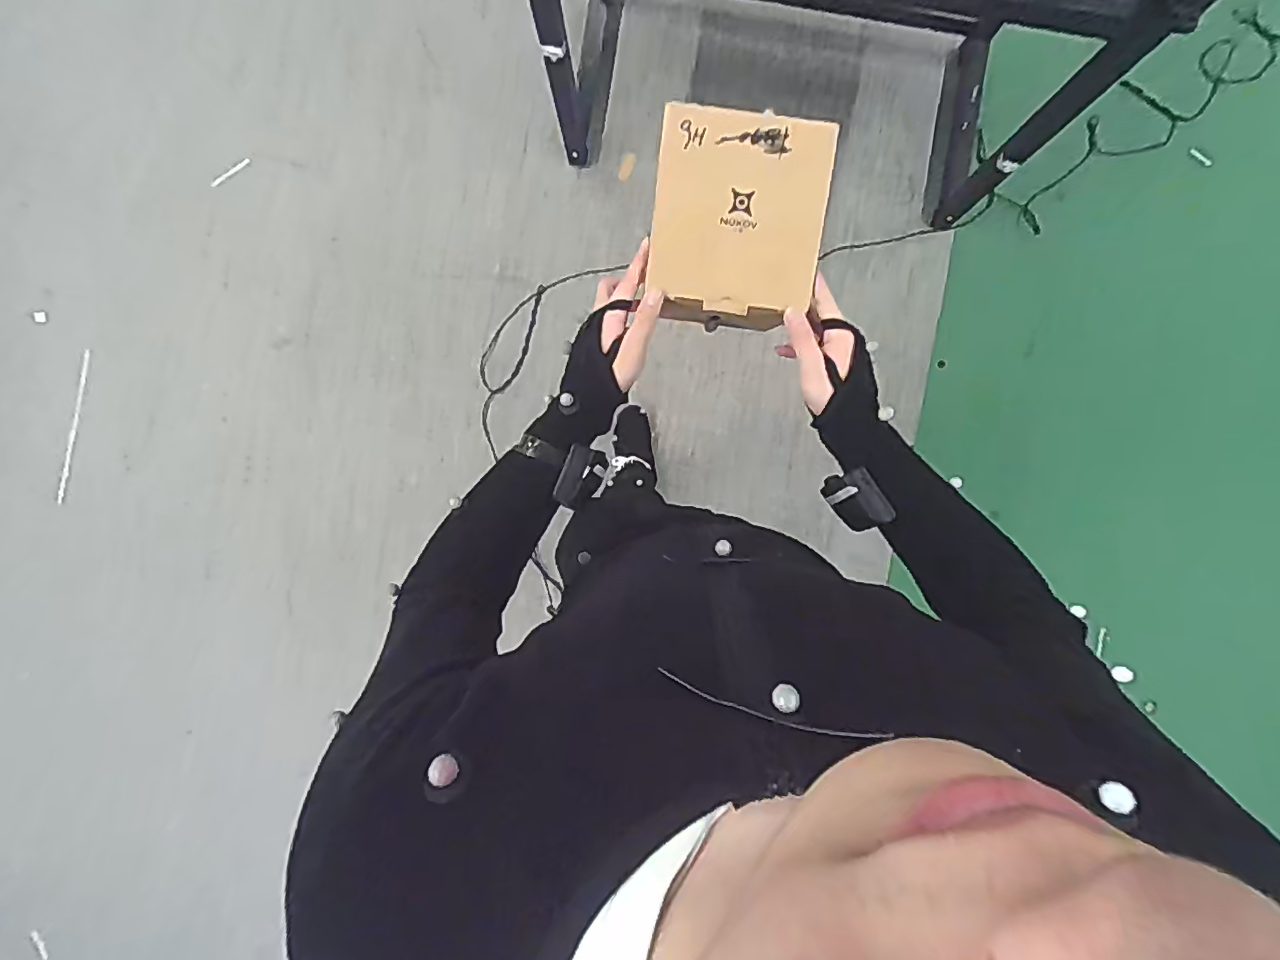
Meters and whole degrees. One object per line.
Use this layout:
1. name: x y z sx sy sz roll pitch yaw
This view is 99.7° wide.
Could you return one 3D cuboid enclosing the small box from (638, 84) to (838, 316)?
1. small box: 0.092 -0.282 0.588 0.168 0.176 0.179 7 101 -1
